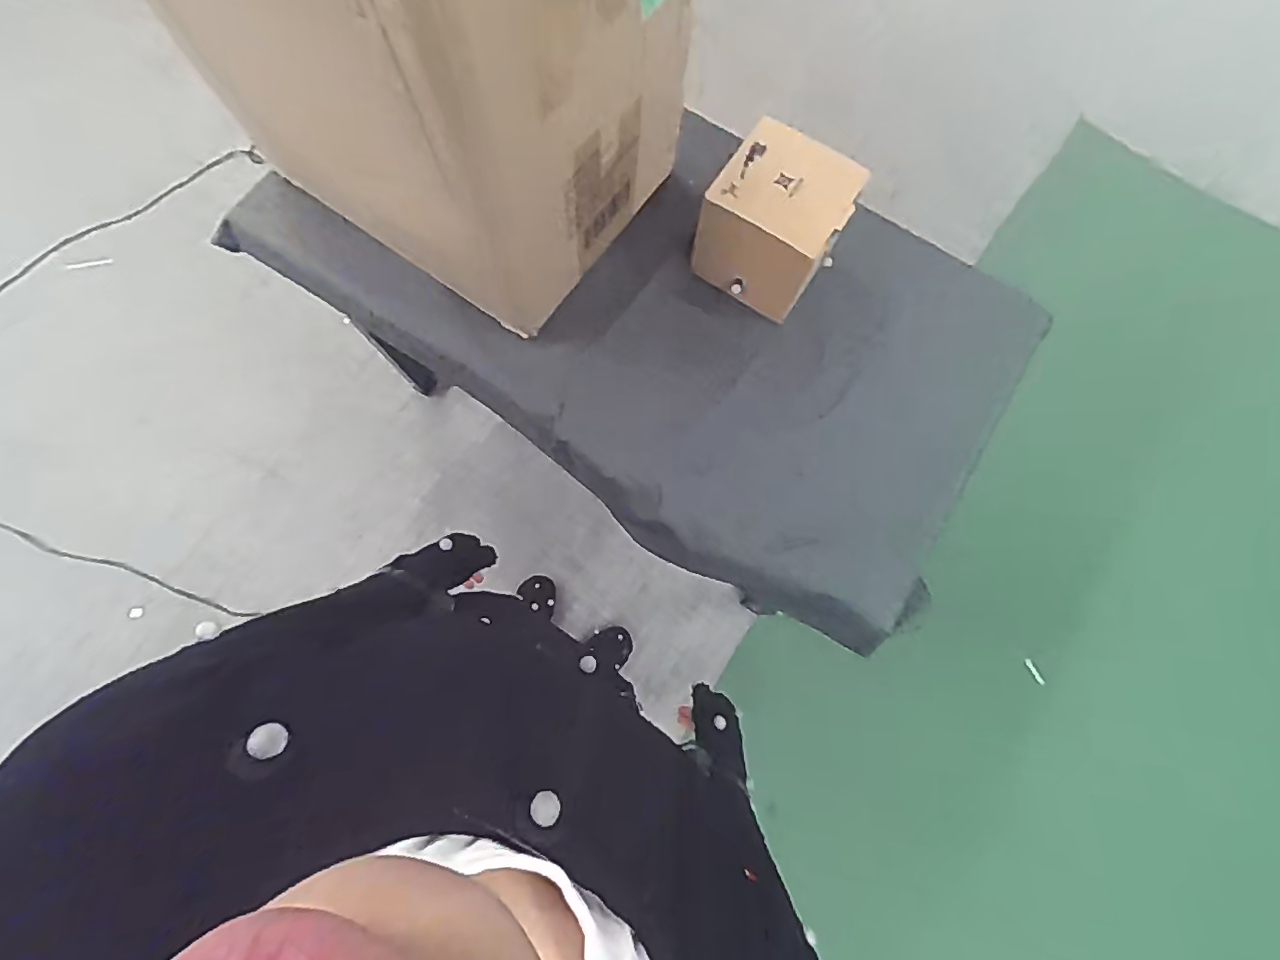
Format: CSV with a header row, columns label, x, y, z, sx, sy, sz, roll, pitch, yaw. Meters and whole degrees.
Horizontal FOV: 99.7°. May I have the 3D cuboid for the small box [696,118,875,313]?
label,x,y,z,sx,sy,sz,roll,pitch,yaw
small box,0.206,-0.381,0.813,0.179,0.176,0.168,34,78,5
